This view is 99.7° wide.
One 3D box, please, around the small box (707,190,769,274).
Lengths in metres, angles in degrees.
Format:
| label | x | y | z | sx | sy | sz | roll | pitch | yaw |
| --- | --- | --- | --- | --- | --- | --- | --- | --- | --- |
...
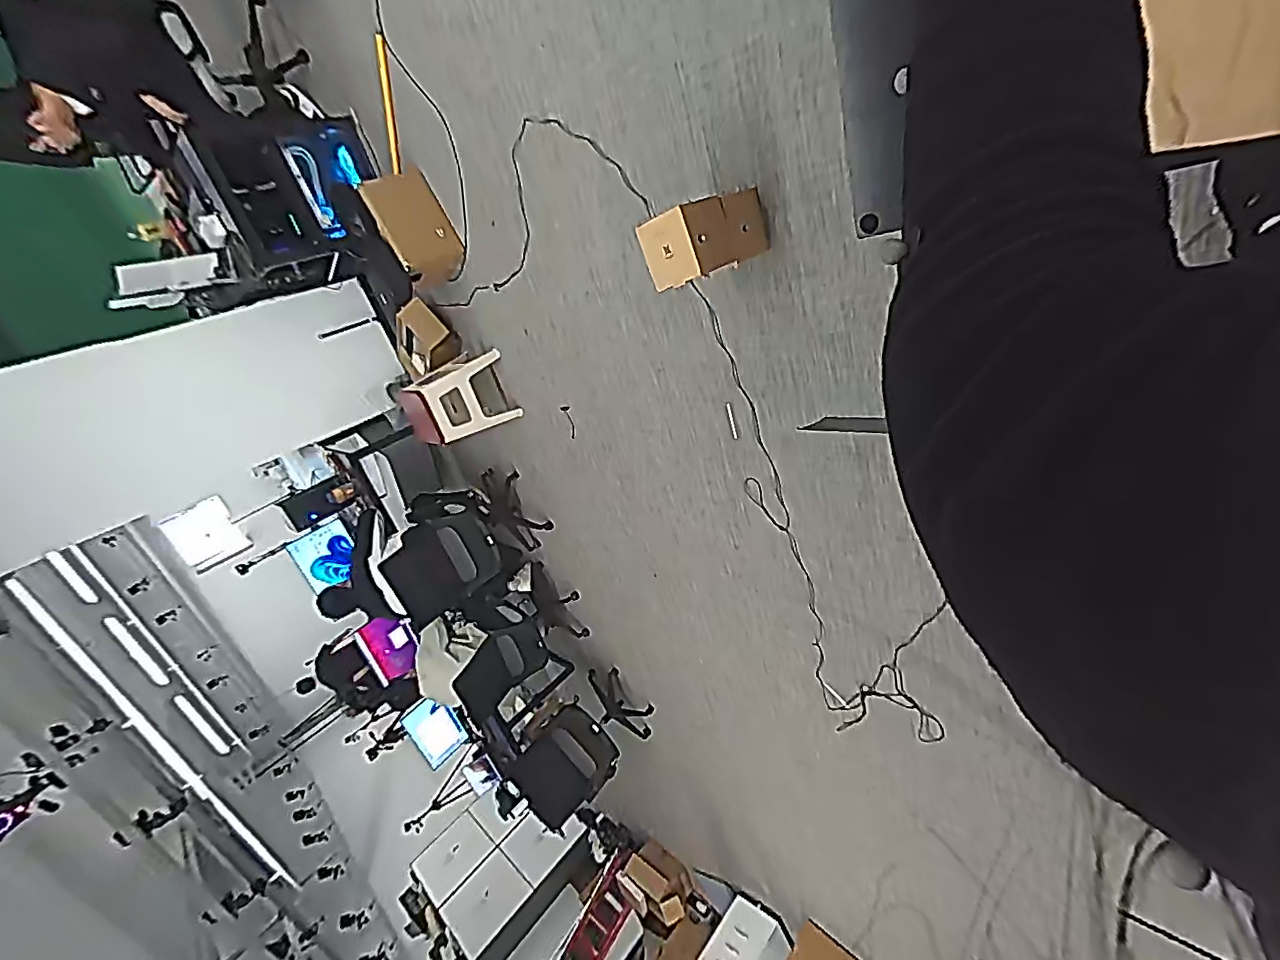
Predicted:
| label | x | y | z | sx | sy | sz | roll | pitch | yaw |
| --- | --- | --- | --- | --- | --- | --- | --- | --- | --- |
| small box | 0.238 | -0.700 | 1.531 | 0.168 | 0.176 | 0.179 | 4 | 122 | 48 |

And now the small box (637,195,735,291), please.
| label | x | y | z | sx | sy | sz | roll | pitch | yaw |
| --- | --- | --- | --- | --- | --- | --- | --- | --- | --- |
| small box | 0.127 | -0.628 | 1.436 | 0.168 | 0.176 | 0.179 | -1 | 117 | 49 |
